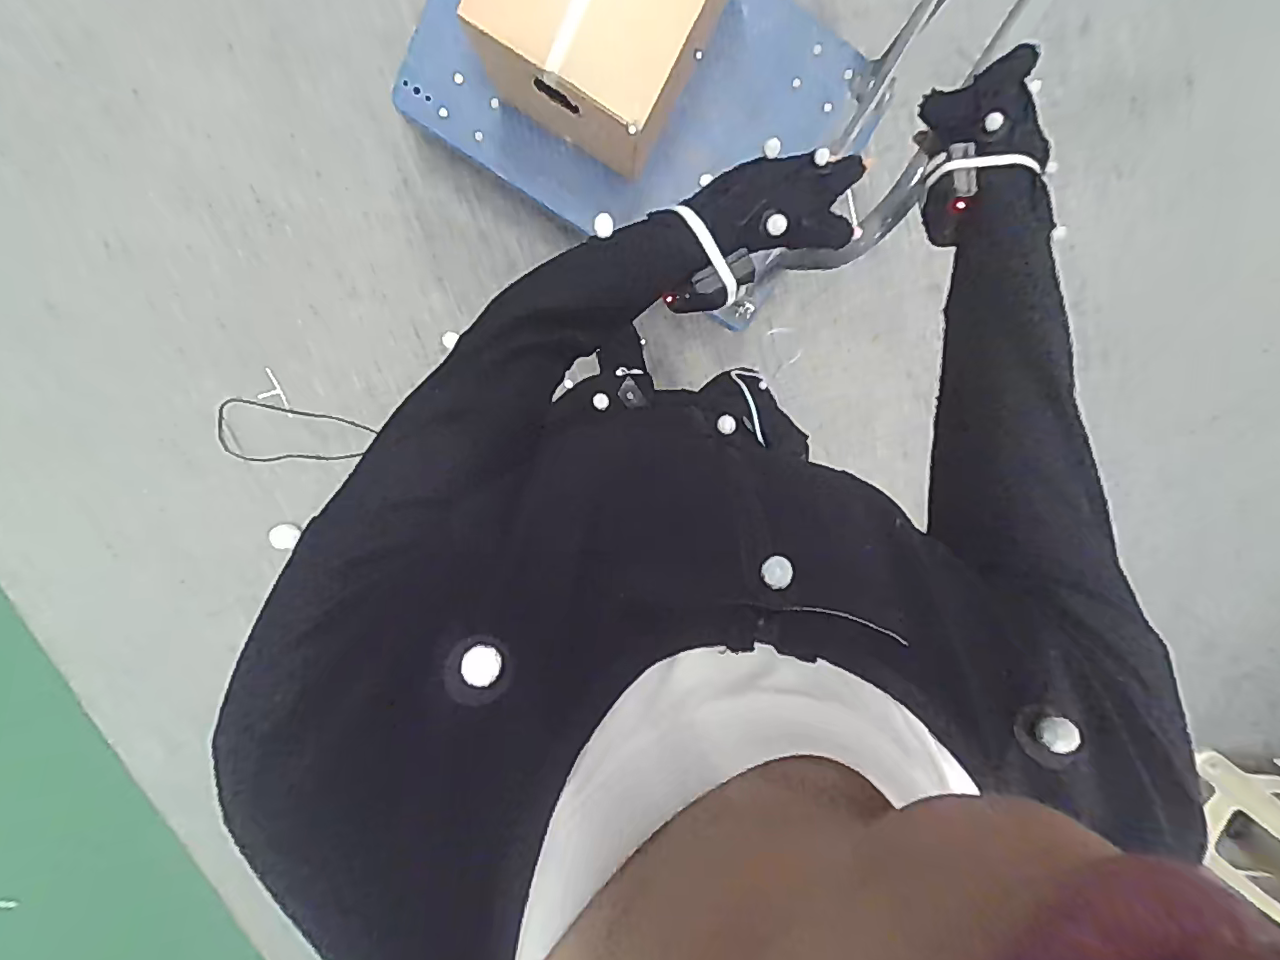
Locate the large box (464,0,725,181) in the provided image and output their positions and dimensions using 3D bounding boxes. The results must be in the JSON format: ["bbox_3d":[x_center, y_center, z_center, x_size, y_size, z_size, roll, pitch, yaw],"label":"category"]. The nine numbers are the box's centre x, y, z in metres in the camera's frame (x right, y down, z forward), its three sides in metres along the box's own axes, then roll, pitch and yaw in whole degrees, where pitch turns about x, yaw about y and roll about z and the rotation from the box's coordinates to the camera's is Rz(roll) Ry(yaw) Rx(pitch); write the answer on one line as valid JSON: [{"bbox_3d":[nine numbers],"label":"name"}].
[{"bbox_3d":[-0.041,-0.819,0.925,0.320,0.320,0.408,28,104,-8],"label":"large box"}]
